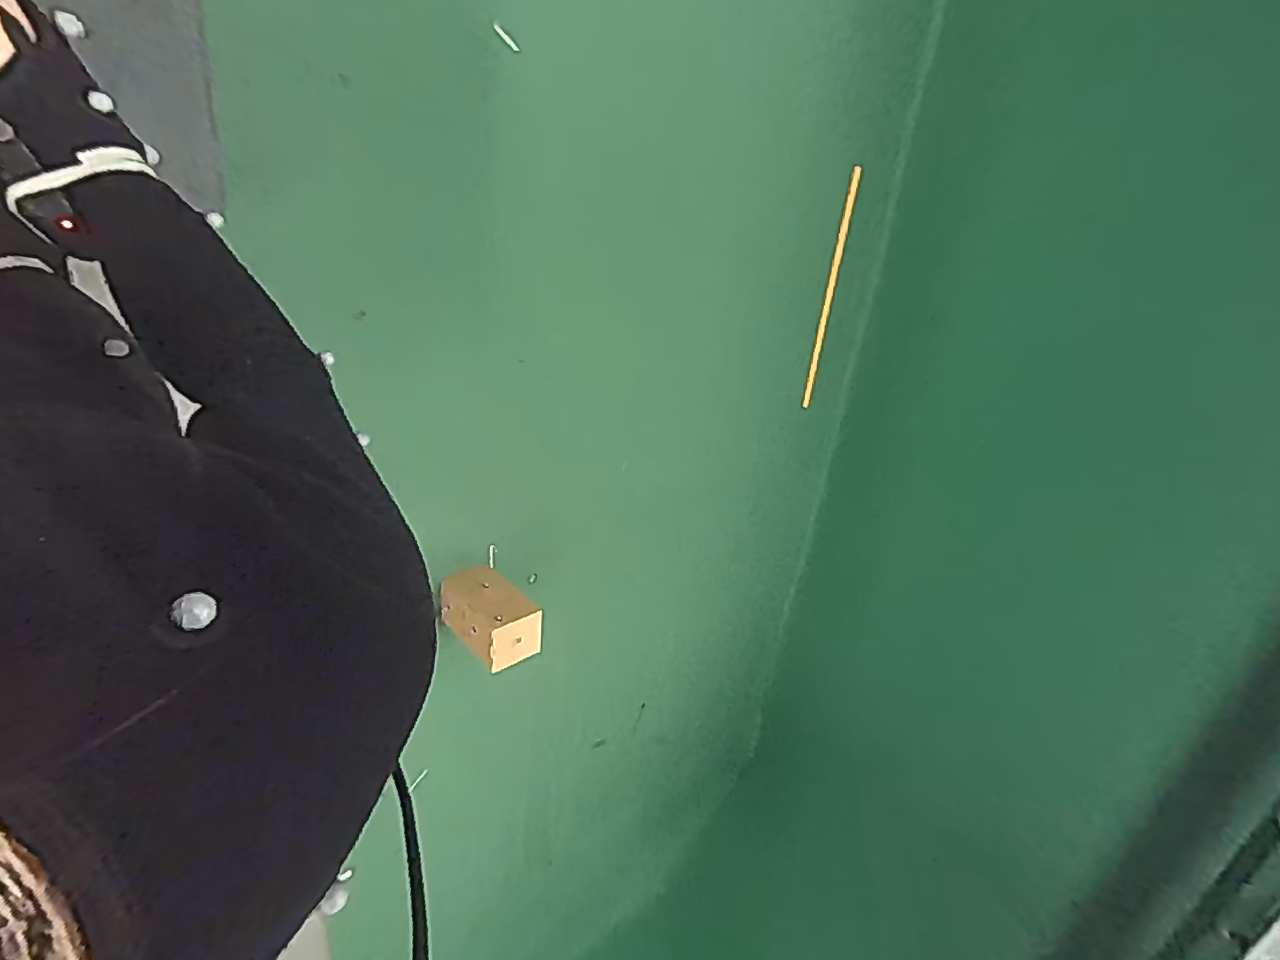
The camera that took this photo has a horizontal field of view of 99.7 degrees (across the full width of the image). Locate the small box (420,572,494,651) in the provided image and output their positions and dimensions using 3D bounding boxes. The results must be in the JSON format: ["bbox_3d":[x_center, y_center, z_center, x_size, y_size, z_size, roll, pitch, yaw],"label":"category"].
[{"bbox_3d":[-0.611,0.428,1.800,0.179,0.176,0.168,-14,119,-45],"label":"small box"}]

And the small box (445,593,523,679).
[{"bbox_3d":[-0.493,0.482,1.703,0.179,0.176,0.168,-15,121,-45],"label":"small box"}]
